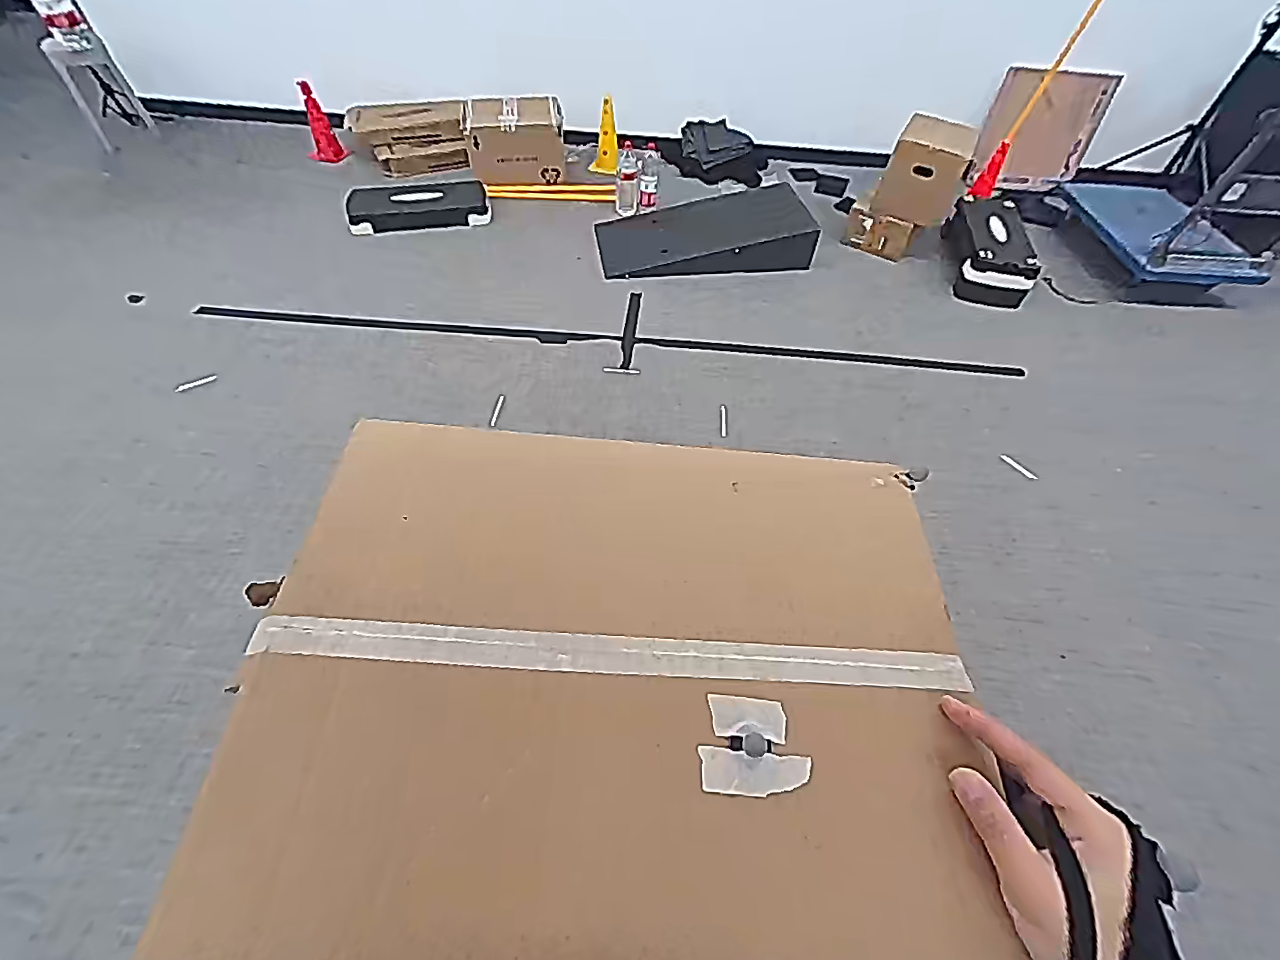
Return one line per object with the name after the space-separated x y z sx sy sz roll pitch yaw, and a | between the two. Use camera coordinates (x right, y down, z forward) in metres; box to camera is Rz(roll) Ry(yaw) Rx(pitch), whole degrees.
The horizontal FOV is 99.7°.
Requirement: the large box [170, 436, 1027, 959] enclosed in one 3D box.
-0.021 0.190 0.448 0.408 0.320 0.320 5 57 -4 | large box
